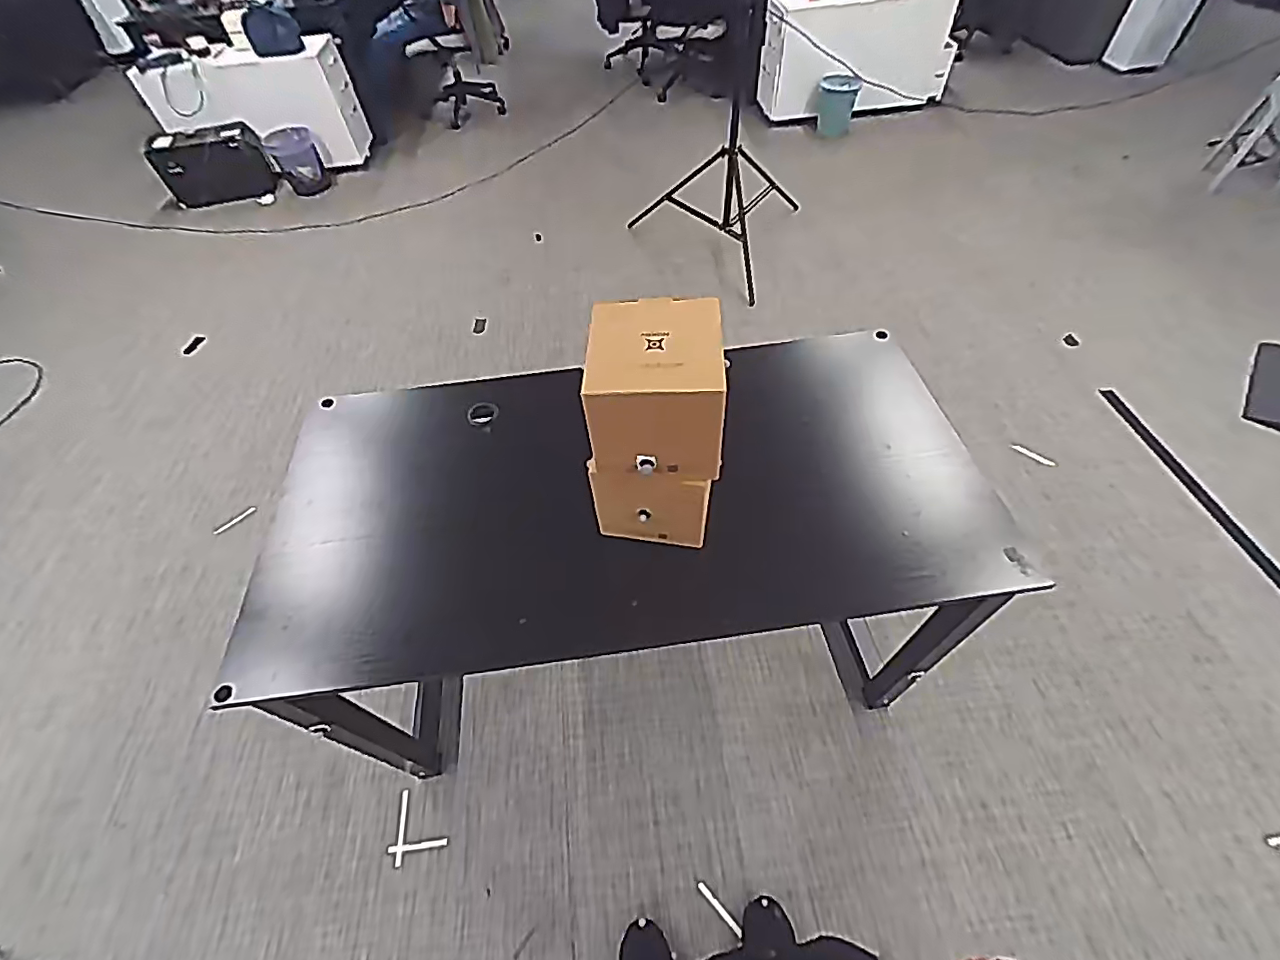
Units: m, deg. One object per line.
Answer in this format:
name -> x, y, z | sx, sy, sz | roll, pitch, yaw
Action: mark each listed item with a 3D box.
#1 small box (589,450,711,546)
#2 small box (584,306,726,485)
small box -> 0.028, -0.014, 0.858 | 0.168, 0.176, 0.179 | 7, 53, 9
small box -> 0.024, -0.111, 0.728 | 0.168, 0.176, 0.179 | -1, 54, 4
